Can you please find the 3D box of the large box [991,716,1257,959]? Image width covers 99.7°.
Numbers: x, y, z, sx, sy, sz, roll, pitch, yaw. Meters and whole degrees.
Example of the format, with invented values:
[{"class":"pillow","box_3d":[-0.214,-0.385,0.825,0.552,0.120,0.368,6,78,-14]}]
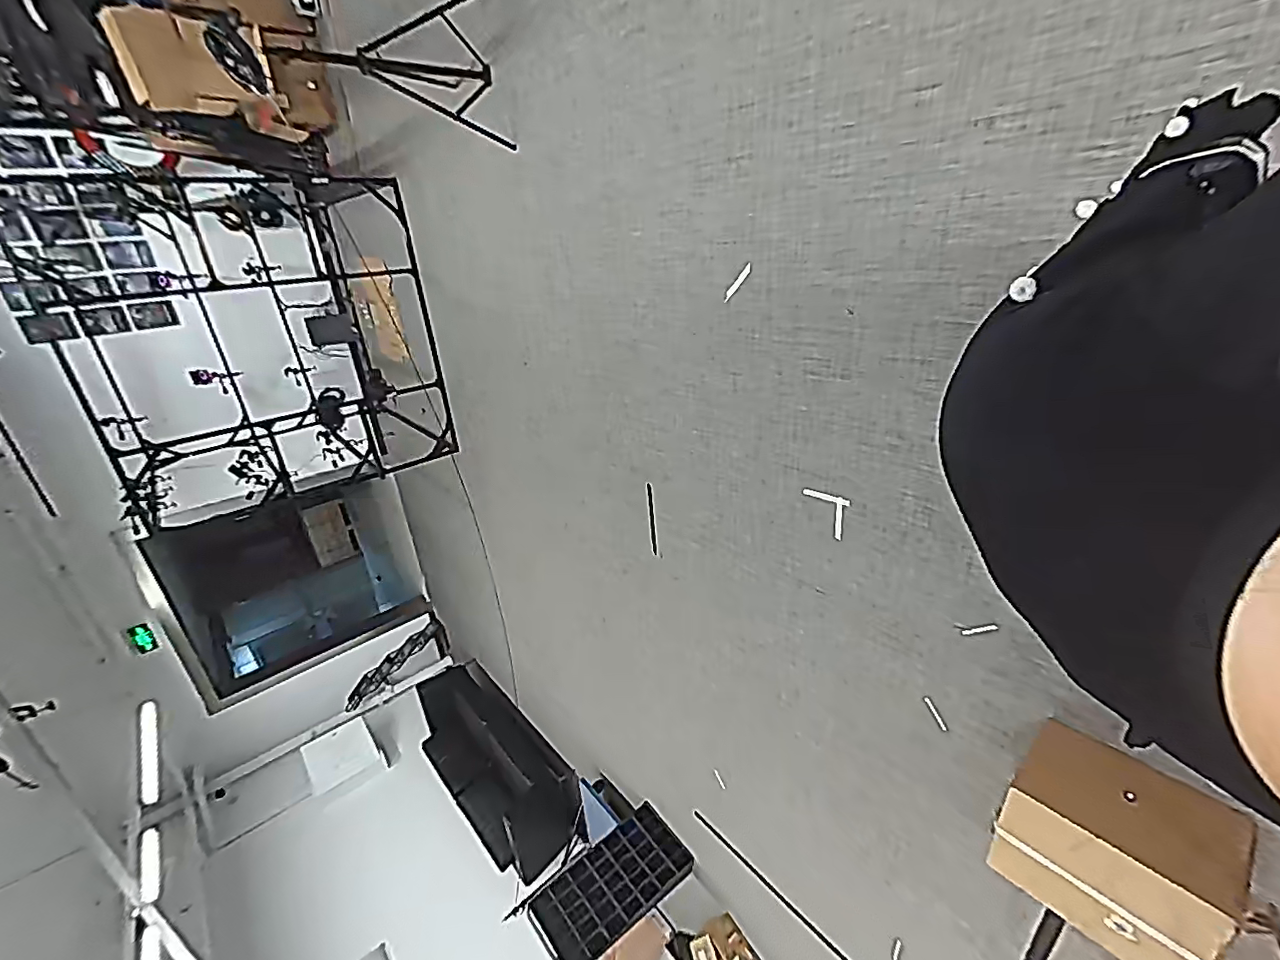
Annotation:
[{"class":"large box","box_3d":[1.169,0.881,1.336,0.408,0.320,0.320,23,125,45]}]
